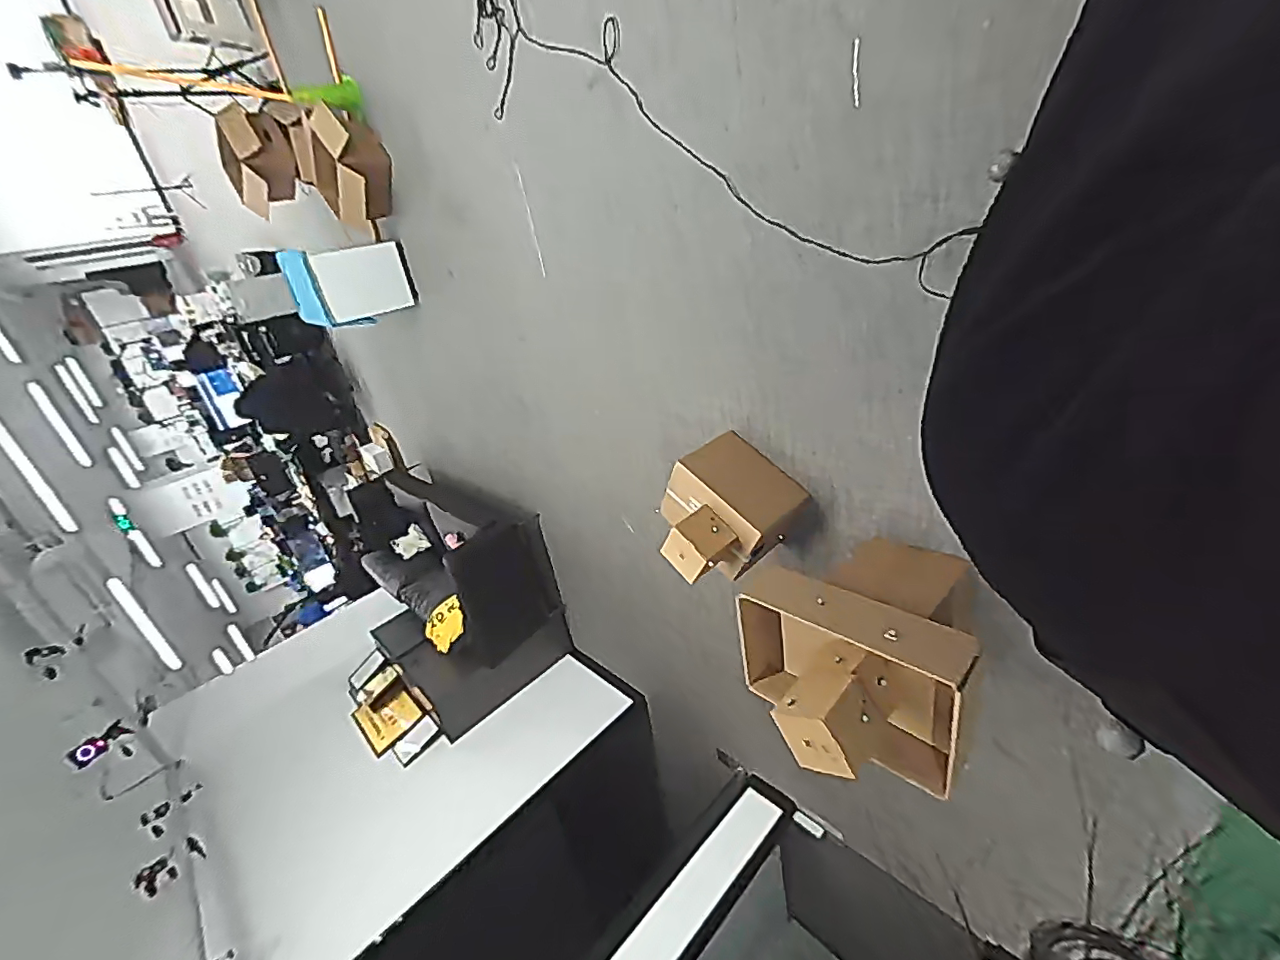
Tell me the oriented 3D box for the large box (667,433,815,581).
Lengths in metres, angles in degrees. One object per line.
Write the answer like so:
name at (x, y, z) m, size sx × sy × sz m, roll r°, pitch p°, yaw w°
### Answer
large box at (0.371, 0.096, 2.047) m, size 0.408 × 0.320 × 0.320 m, roll 44°, pitch 143°, yaw 24°

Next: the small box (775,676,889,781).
small box at (0.485, 0.613, 1.362) m, size 0.179 × 0.176 × 0.168 m, roll -26°, pitch 94°, yaw 55°

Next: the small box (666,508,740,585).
small box at (0.222, 0.230, 1.900) m, size 0.168 × 0.176 × 0.179 m, roll 46°, pitch 144°, yaw 20°
